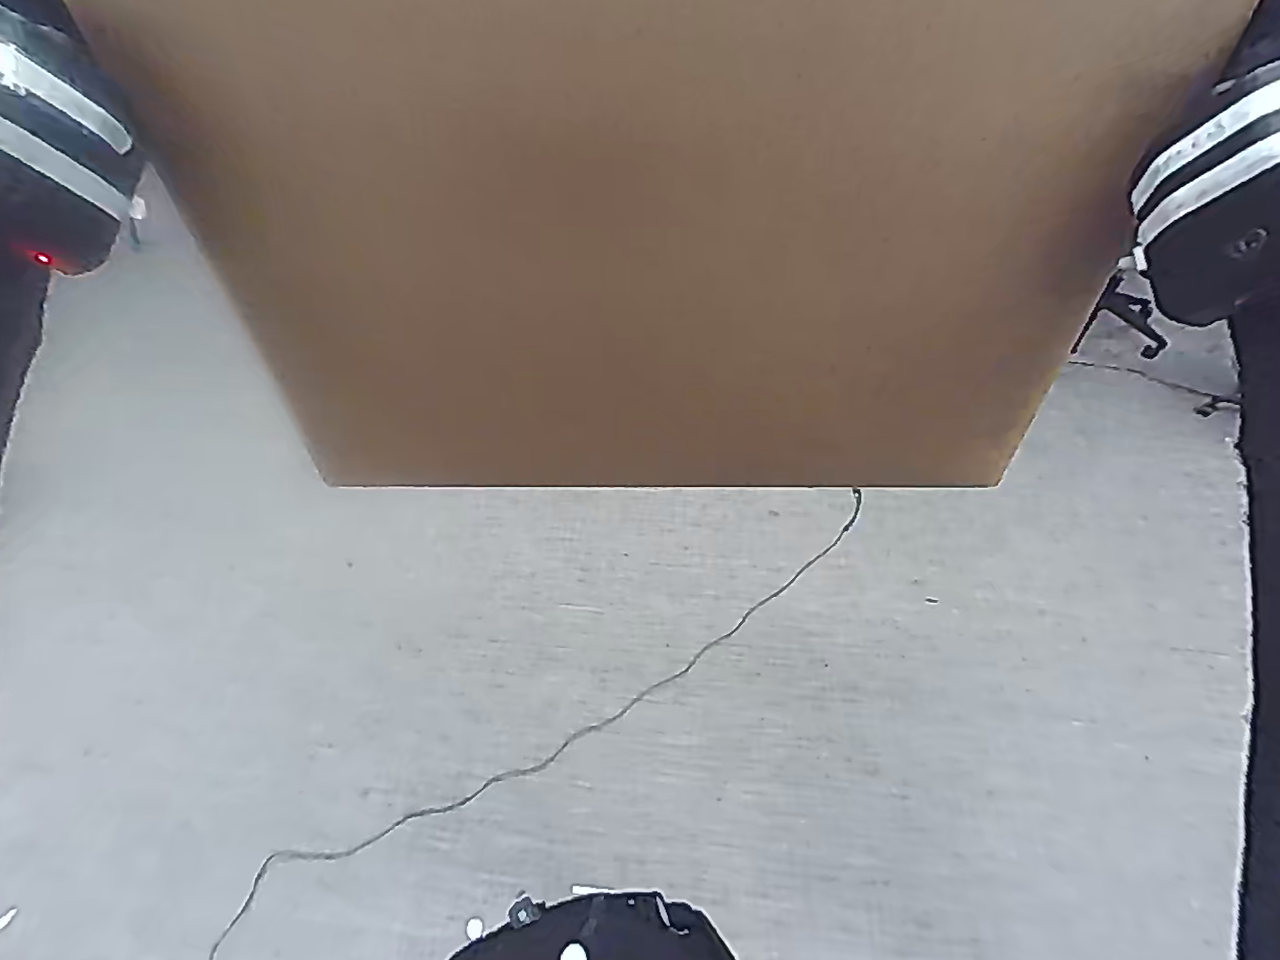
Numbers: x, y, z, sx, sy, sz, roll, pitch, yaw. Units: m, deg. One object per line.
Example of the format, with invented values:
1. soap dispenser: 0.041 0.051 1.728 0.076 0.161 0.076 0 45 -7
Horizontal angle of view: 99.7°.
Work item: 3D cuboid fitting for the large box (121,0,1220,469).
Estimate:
1. large box: 0.010 -0.216 0.346 0.408 0.320 0.320 1 41 1
